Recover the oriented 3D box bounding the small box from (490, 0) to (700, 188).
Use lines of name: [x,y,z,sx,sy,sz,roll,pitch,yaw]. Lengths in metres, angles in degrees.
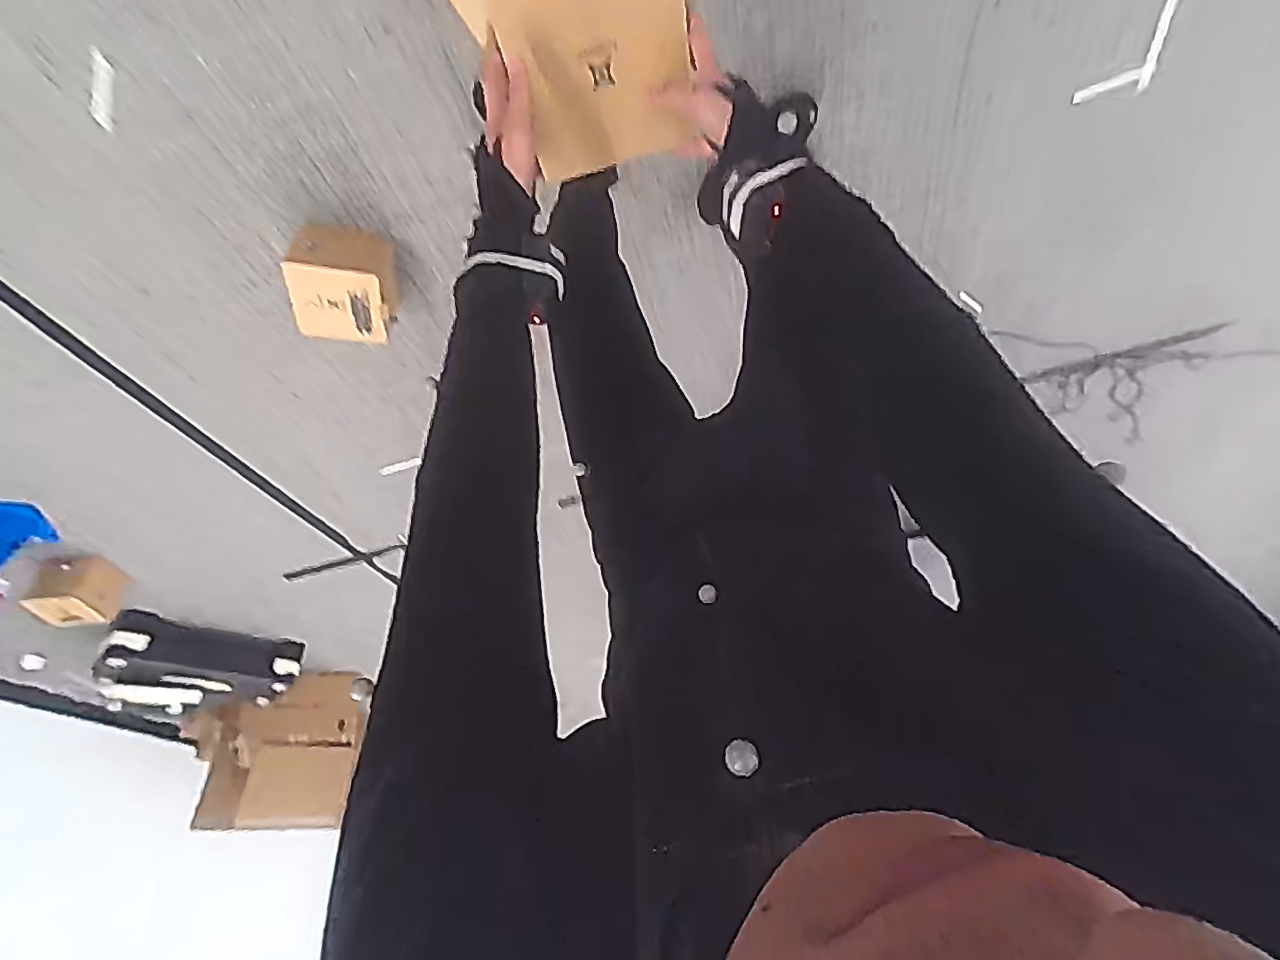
small box: [-0.042,-0.433,0.531,0.168,0.176,0.179,-13,148,3]
